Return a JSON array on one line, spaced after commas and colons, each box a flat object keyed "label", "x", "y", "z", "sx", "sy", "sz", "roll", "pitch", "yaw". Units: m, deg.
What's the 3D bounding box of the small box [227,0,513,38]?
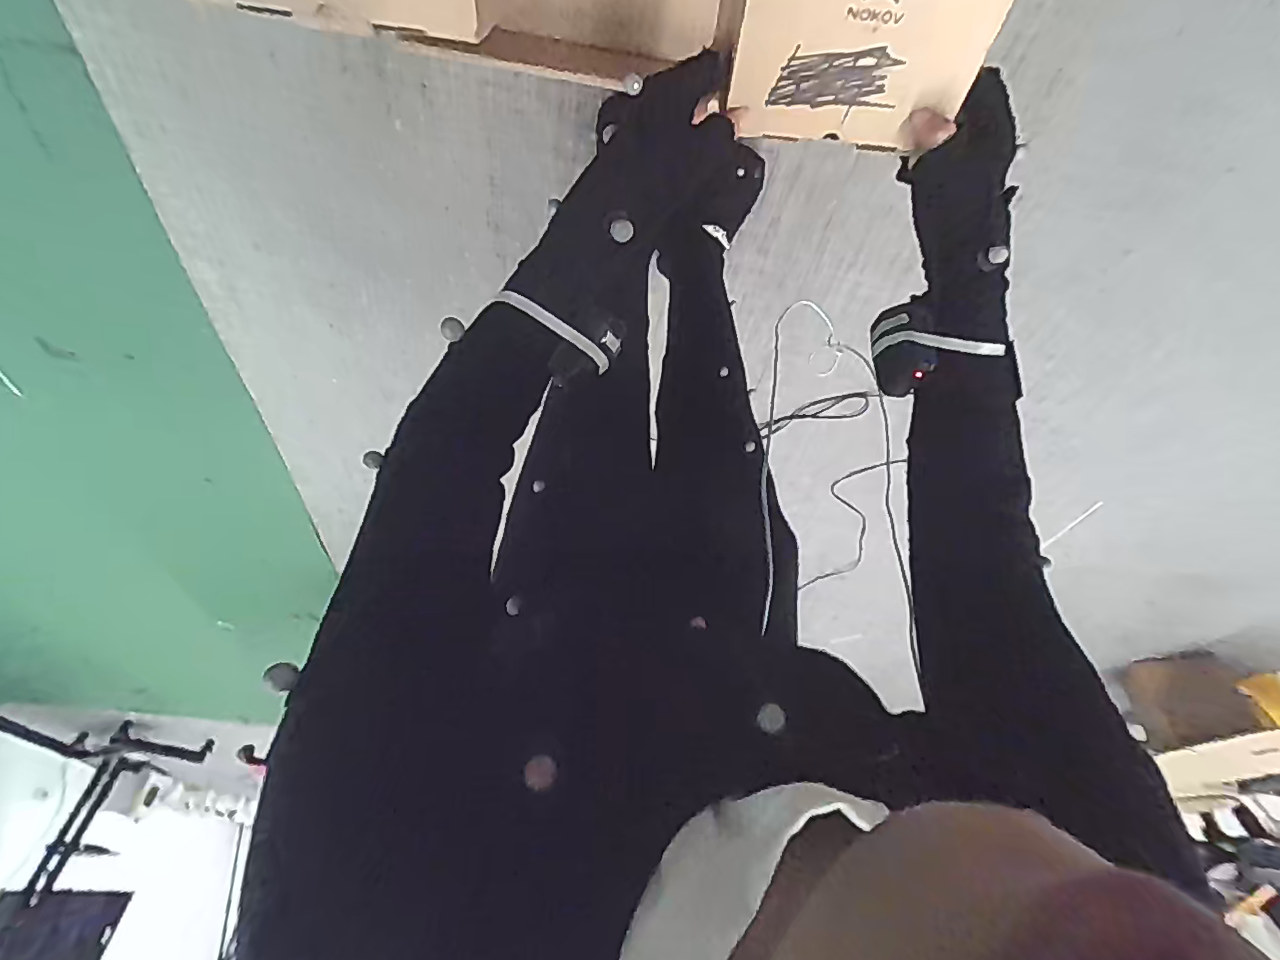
[{"label": "small box", "x": -0.164, "y": -0.401, "z": 0.324, "sx": 0.168, "sy": 0.176, "sz": 0.179, "roll": 4, "pitch": 137, "yaw": -4}]

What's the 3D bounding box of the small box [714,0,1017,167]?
[{"label": "small box", "x": 0.153, "y": -0.364, "z": 0.385, "sx": 0.168, "sy": 0.176, "sz": 0.179, "roll": 5, "pitch": 145, "yaw": -6}]
